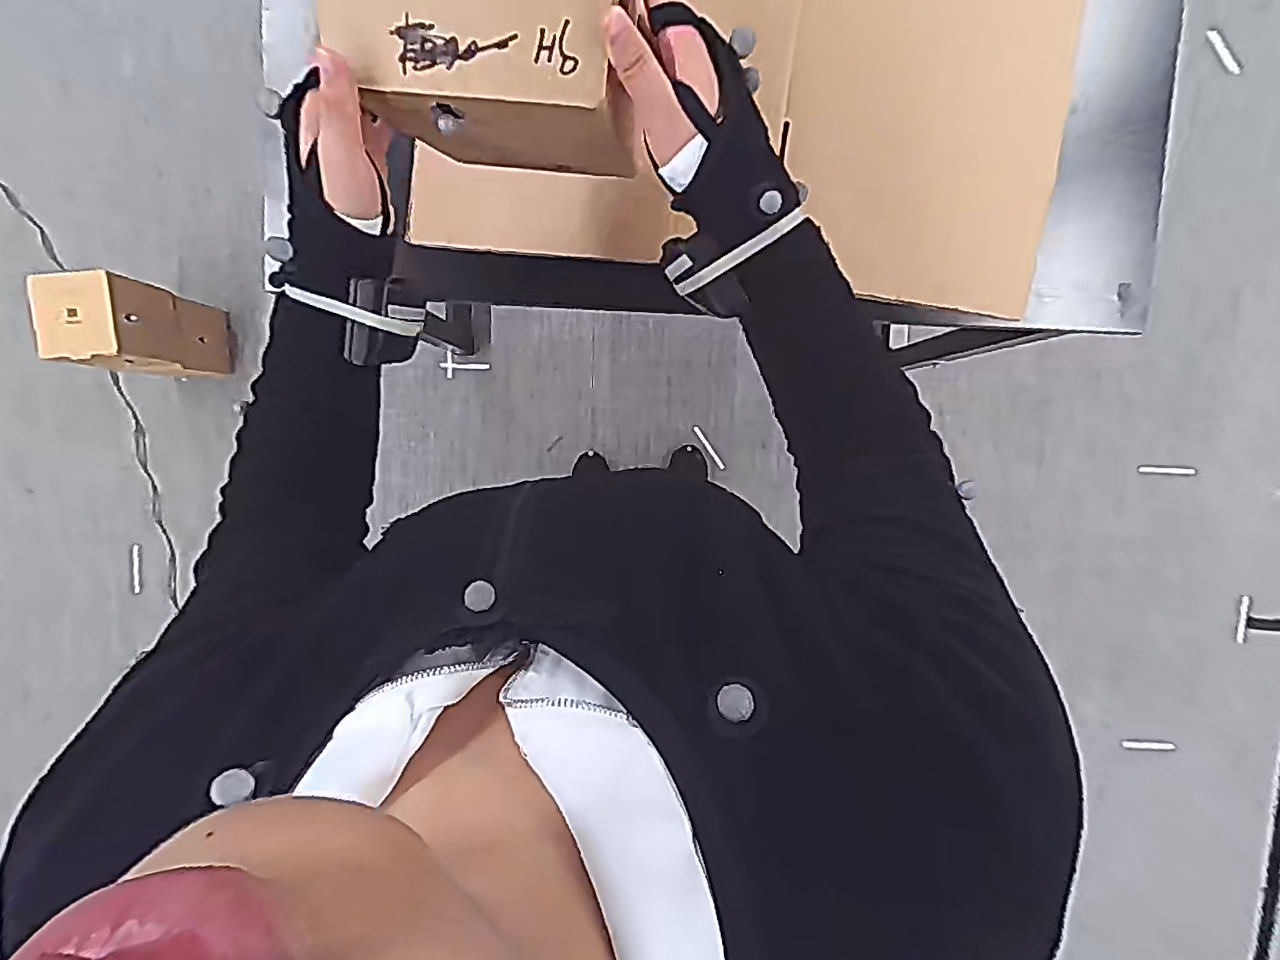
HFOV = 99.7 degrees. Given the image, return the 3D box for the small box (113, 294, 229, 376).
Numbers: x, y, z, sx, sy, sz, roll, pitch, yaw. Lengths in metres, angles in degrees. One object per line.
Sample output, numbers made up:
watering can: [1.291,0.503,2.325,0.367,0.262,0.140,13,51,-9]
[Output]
small box: [-1.184,-0.360,1.367,0.168,0.176,0.179,-1,96,0]

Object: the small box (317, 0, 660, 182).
small box: [-0.078,-0.316,0.348,0.168,0.176,0.179,8,108,4]

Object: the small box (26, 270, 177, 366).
small box: [-1.184,-0.352,1.204,0.168,0.176,0.179,-4,94,-1]
